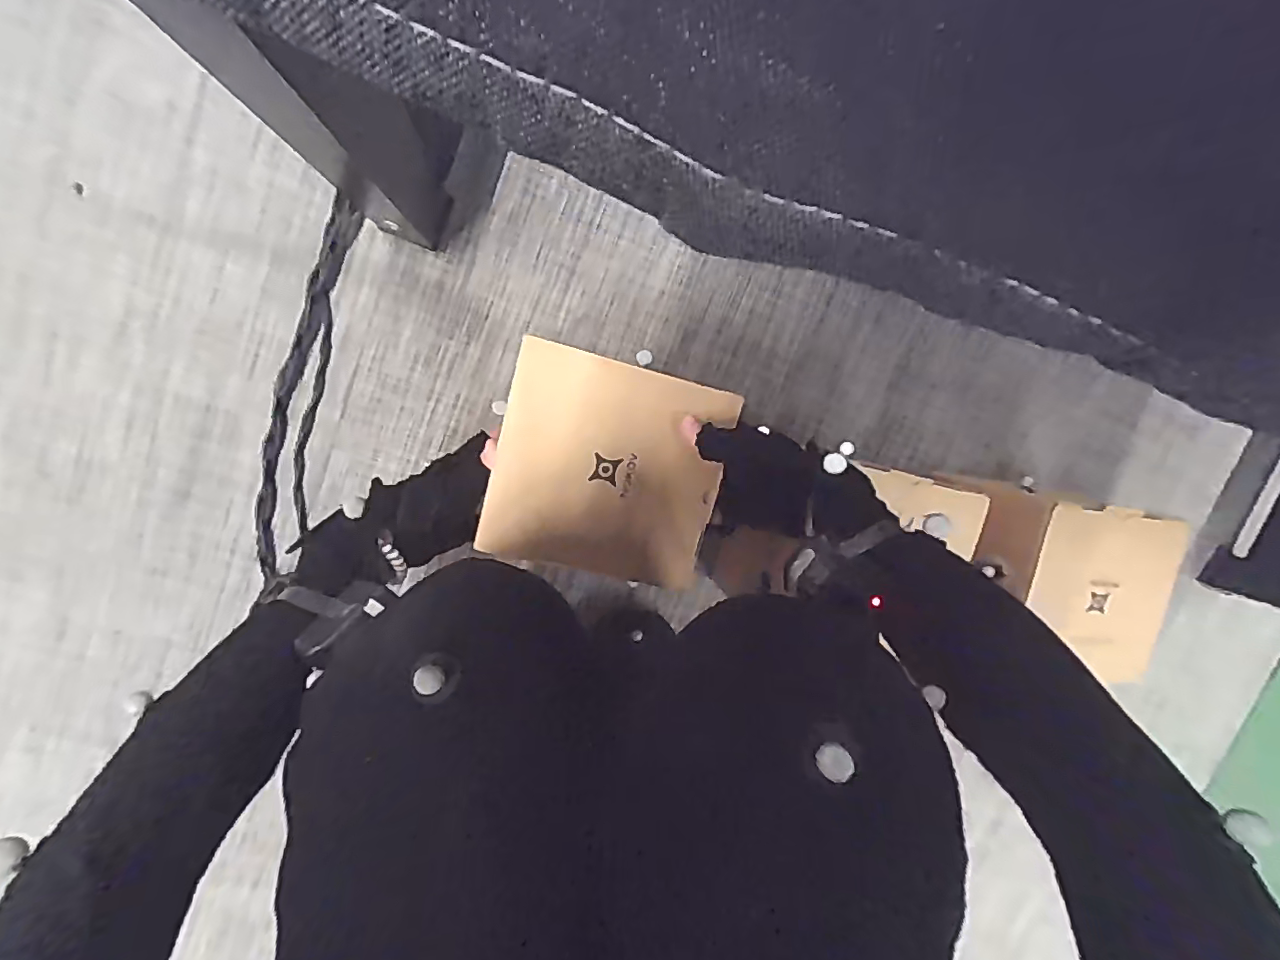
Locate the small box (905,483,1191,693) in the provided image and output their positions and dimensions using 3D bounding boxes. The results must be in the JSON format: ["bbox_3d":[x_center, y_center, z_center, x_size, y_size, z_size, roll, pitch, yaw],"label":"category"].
[{"bbox_3d":[0.424,0.106,0.591,0.168,0.176,0.179,7,98,-12],"label":"small box"}]
